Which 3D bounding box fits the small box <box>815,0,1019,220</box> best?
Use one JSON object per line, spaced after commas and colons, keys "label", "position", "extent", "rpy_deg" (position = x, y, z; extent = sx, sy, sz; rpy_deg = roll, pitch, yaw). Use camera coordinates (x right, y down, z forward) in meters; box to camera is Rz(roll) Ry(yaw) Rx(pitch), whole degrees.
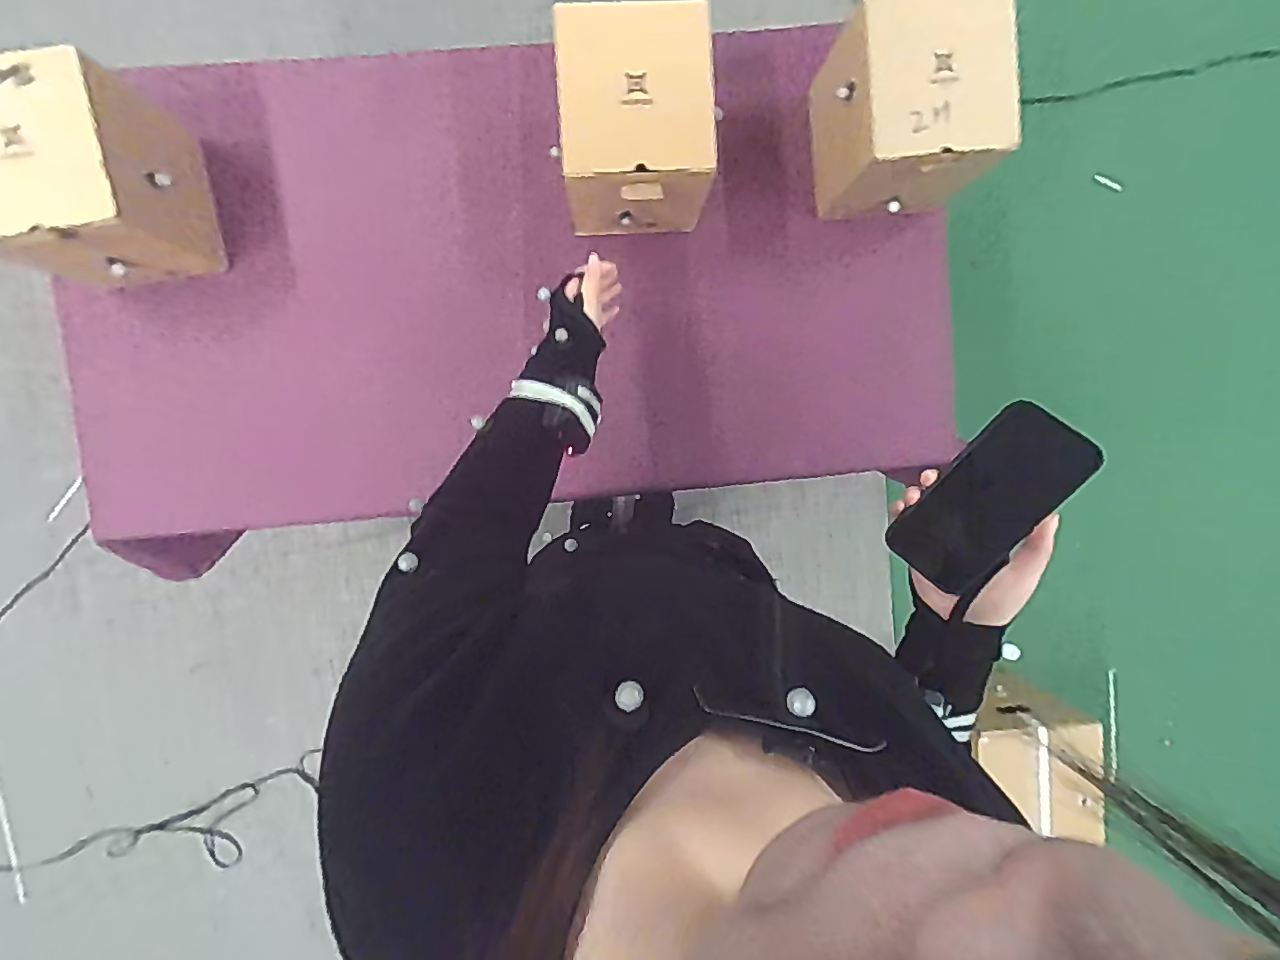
{"label": "small box", "position": [0.324, -0.447, 0.664], "extent": [0.168, 0.176, 0.179], "rpy_deg": [-5, 95, -1]}

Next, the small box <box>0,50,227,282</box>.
{"label": "small box", "position": [-0.630, -0.343, 0.630], "extent": [0.168, 0.176, 0.179], "rpy_deg": [-10, 95, -3]}

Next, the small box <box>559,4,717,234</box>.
{"label": "small box", "position": [-0.006, -0.420, 0.655], "extent": [0.168, 0.176, 0.179], "rpy_deg": [-4, 95, -3]}
